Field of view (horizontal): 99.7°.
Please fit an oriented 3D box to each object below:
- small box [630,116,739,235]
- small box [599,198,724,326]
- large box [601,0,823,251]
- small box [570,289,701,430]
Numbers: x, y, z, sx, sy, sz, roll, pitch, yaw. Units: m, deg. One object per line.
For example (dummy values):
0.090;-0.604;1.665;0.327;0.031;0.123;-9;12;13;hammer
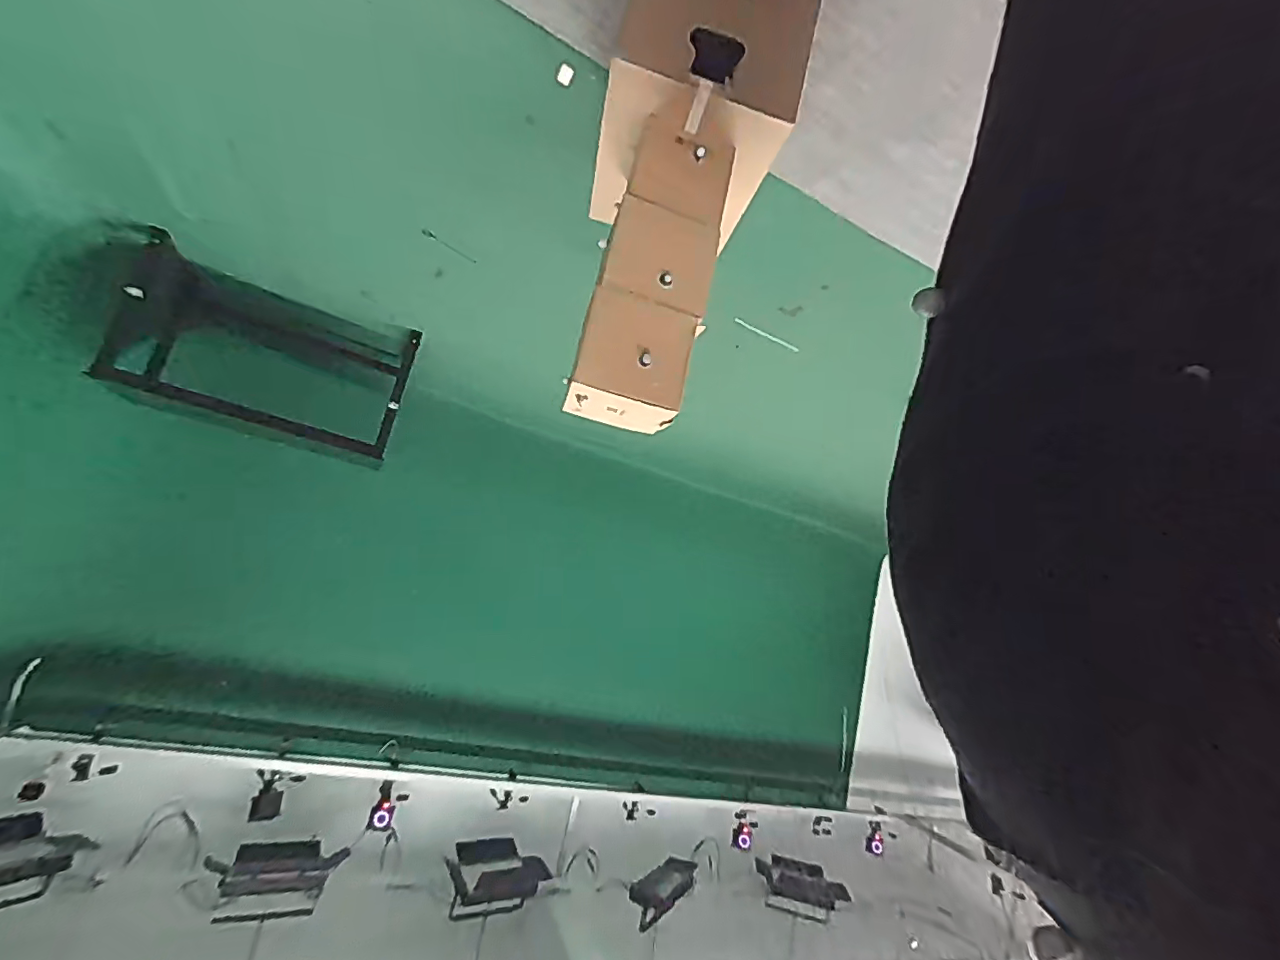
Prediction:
0.069;-0.511;0.995;0.168;0.176;0.179;14;168;-11;small box
0.030;-0.358;0.953;0.179;0.176;0.168;15;169;-12;small box
0.120;-0.740;1.070;0.320;0.320;0.408;16;170;-7;large box
-0.009;-0.201;0.924;0.179;0.176;0.168;13;169;-11;small box
